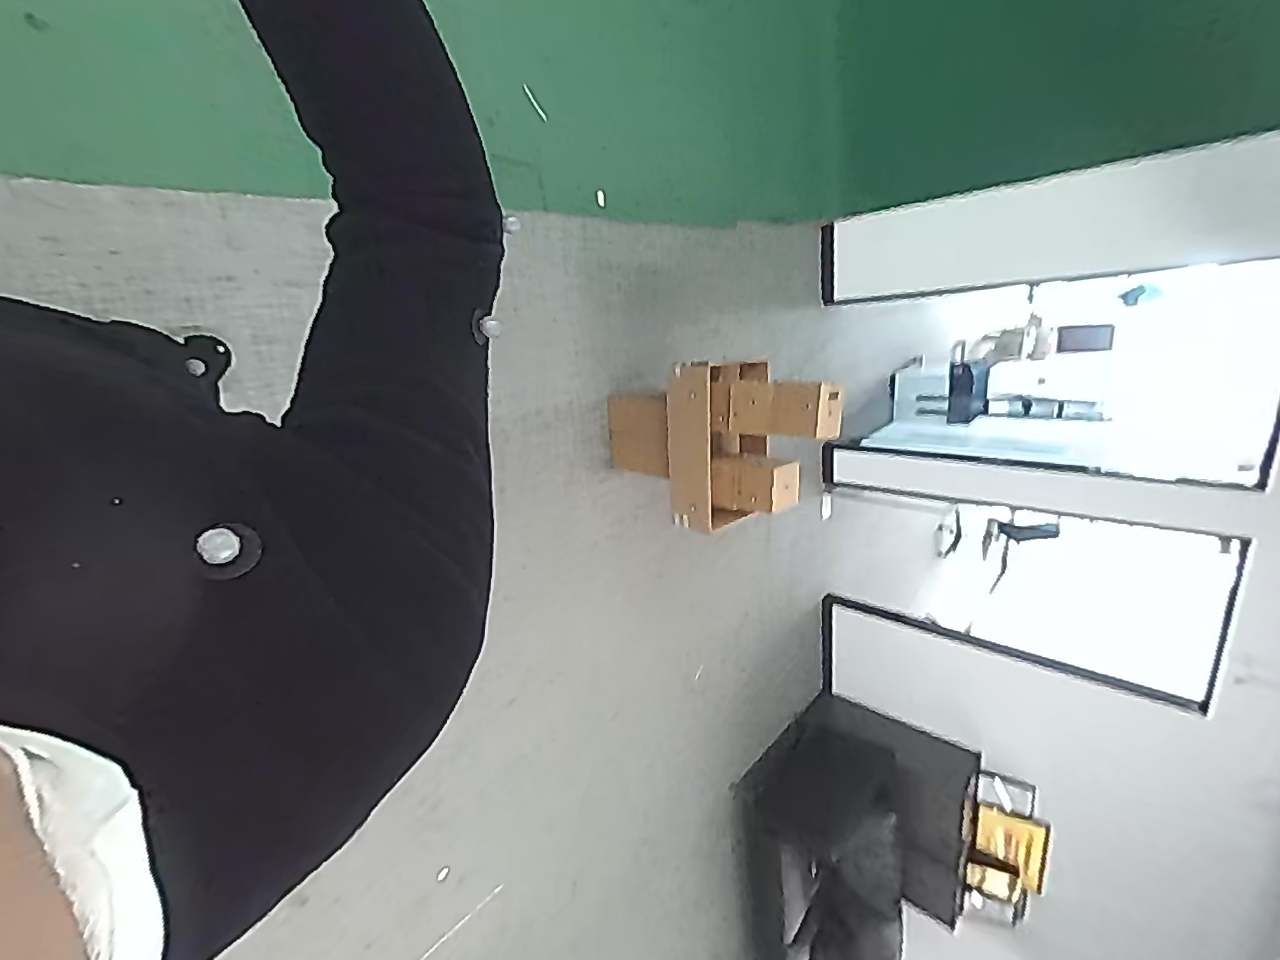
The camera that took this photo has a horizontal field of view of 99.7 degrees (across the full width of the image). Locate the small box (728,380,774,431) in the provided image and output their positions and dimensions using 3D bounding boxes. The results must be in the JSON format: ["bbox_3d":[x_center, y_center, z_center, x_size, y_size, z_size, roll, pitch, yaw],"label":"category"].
[{"bbox_3d":[0.419,-0.263,1.879,0.179,0.176,0.168,-12,107,-45],"label":"small box"}]

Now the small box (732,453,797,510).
[{"bbox_3d":[0.448,0.002,1.962,0.179,0.176,0.168,-15,110,-44],"label":"small box"}]

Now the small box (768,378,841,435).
[{"bbox_3d":[0.535,-0.241,1.764,0.168,0.176,0.179,-8,105,-45],"label":"small box"}]
